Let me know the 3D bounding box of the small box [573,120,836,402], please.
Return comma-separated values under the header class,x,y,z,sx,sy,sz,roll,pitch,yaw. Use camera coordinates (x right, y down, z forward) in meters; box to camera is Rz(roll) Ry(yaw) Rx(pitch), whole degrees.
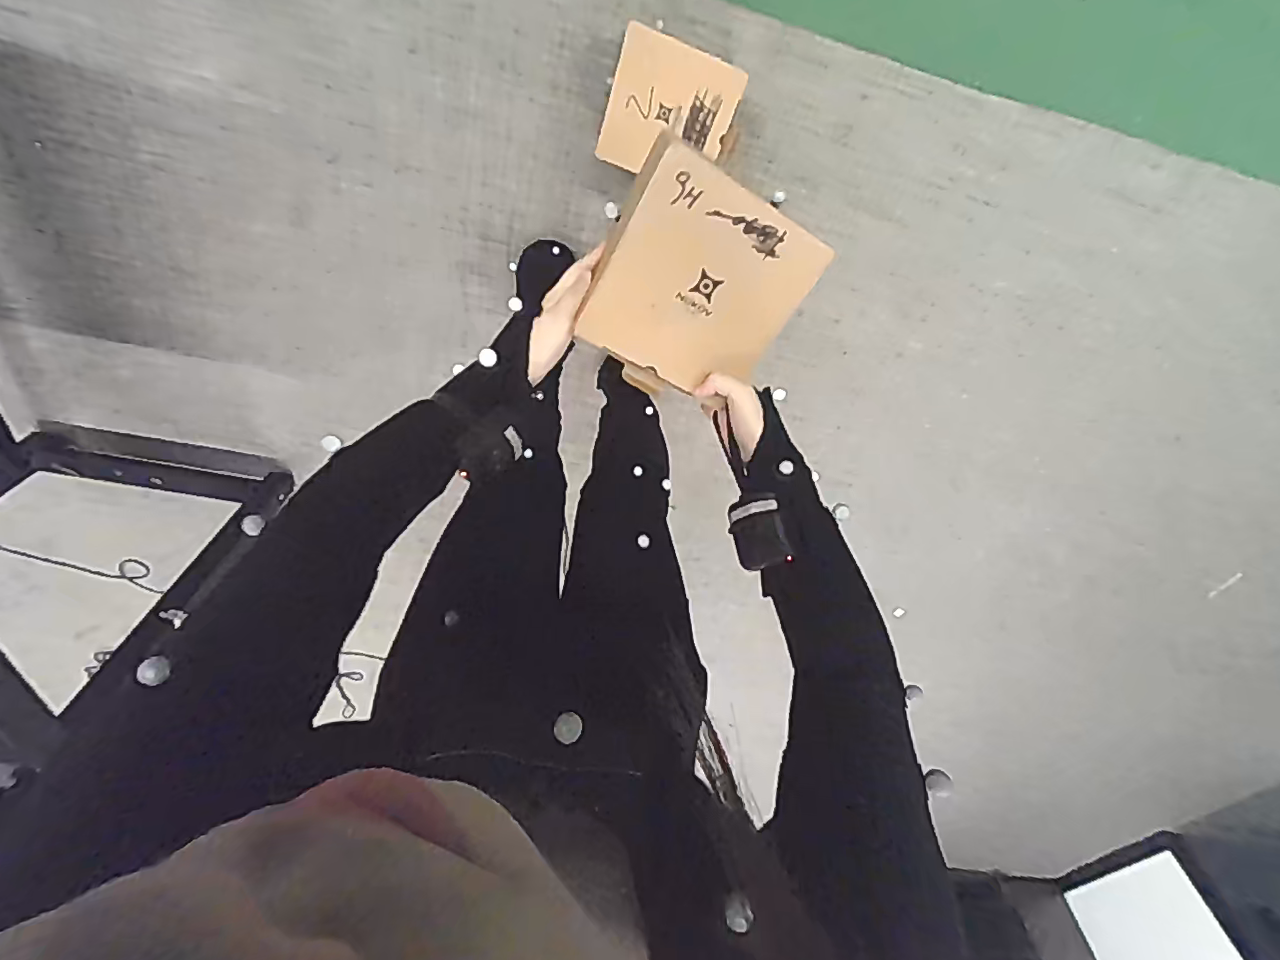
class,x,y,z,sx,sy,sz,roll,pitch,yaw
small box,0.052,-0.214,0.528,0.168,0.176,0.179,25,122,-18
